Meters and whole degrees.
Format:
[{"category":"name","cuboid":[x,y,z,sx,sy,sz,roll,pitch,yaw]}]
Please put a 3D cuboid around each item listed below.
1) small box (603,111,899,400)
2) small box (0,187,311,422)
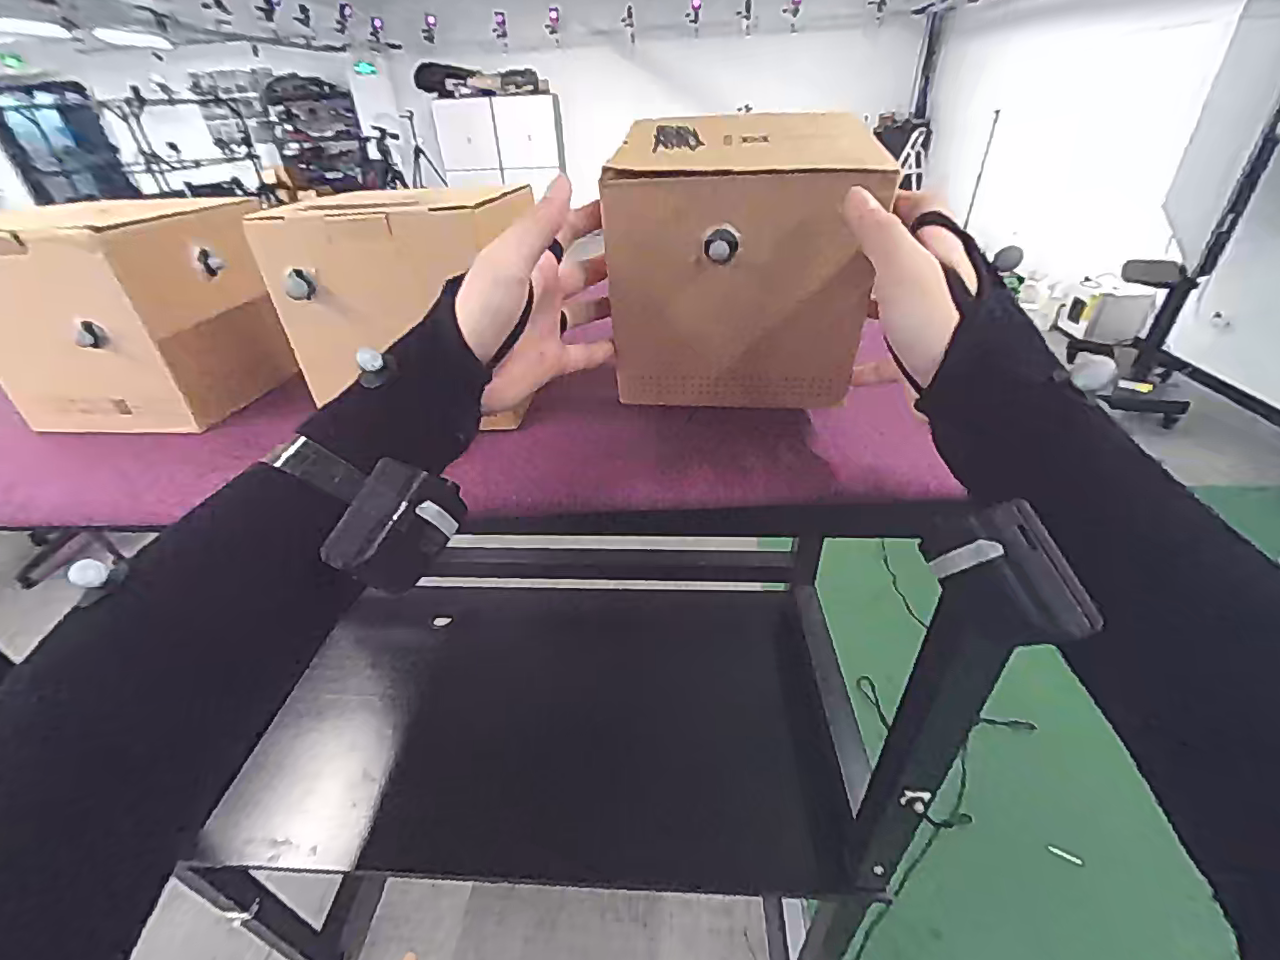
[{"category":"small box","cuboid":[0.077,-0.176,0.428,0.179,0.176,0.168,3,43,7]},{"category":"small box","cuboid":[-0.447,-0.162,0.496,0.168,0.176,0.179,2,33,6]}]
